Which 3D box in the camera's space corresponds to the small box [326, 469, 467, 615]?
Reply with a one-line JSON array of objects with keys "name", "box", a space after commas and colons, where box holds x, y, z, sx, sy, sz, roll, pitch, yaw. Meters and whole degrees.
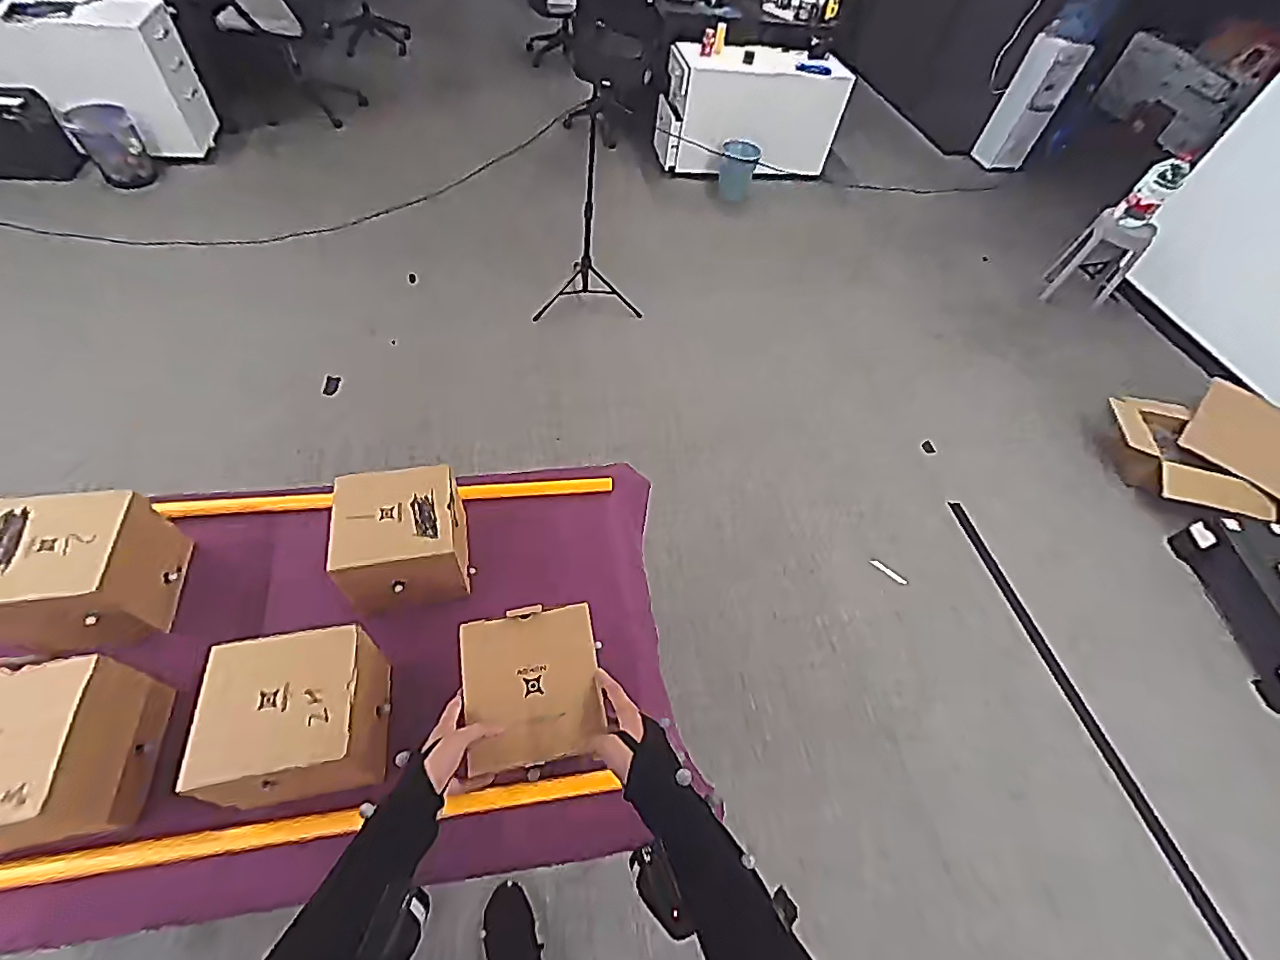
[{"name": "small box", "box": [-0.381, 0.104, 0.880, 0.179, 0.176, 0.168, -8, 56, -12]}]

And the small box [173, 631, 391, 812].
[{"name": "small box", "box": [-0.447, 0.320, 0.711, 0.179, 0.176, 0.168, -6, 54, -12]}]

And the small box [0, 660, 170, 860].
[{"name": "small box", "box": [-0.727, 0.342, 0.657, 0.168, 0.176, 0.179, -6, 54, -10]}]

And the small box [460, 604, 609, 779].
[{"name": "small box", "box": [-0.141, 0.286, 0.723, 0.168, 0.176, 0.179, -8, 62, -11]}]
